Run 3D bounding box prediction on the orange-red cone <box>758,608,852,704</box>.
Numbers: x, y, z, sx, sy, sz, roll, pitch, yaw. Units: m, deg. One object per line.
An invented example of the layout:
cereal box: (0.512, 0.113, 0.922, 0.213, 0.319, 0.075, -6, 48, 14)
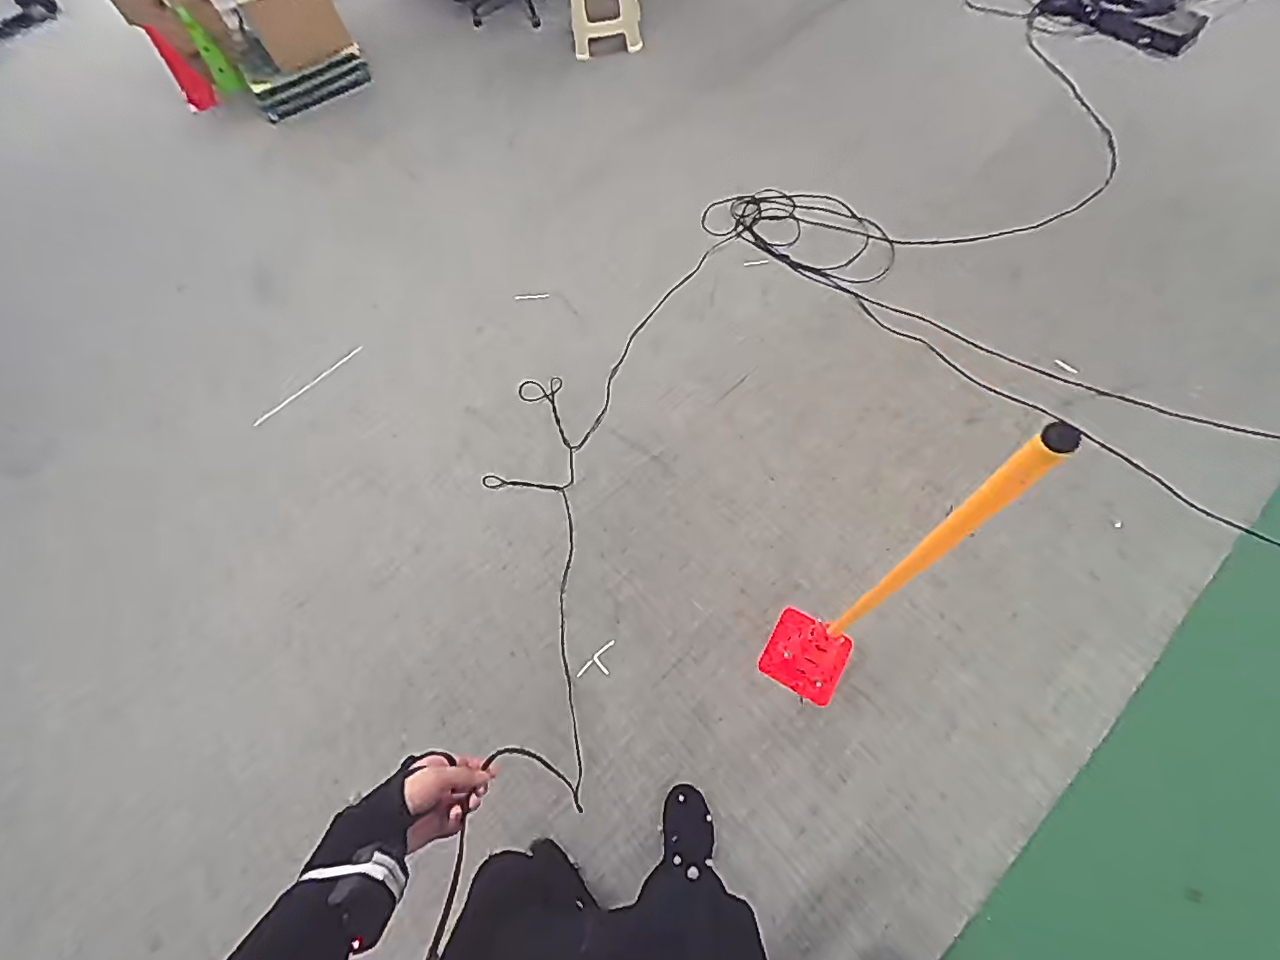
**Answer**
orange-red cone: (0.422, 0.390, 1.286, 0.198, 0.360, 0.199, 28, 70, 18)
